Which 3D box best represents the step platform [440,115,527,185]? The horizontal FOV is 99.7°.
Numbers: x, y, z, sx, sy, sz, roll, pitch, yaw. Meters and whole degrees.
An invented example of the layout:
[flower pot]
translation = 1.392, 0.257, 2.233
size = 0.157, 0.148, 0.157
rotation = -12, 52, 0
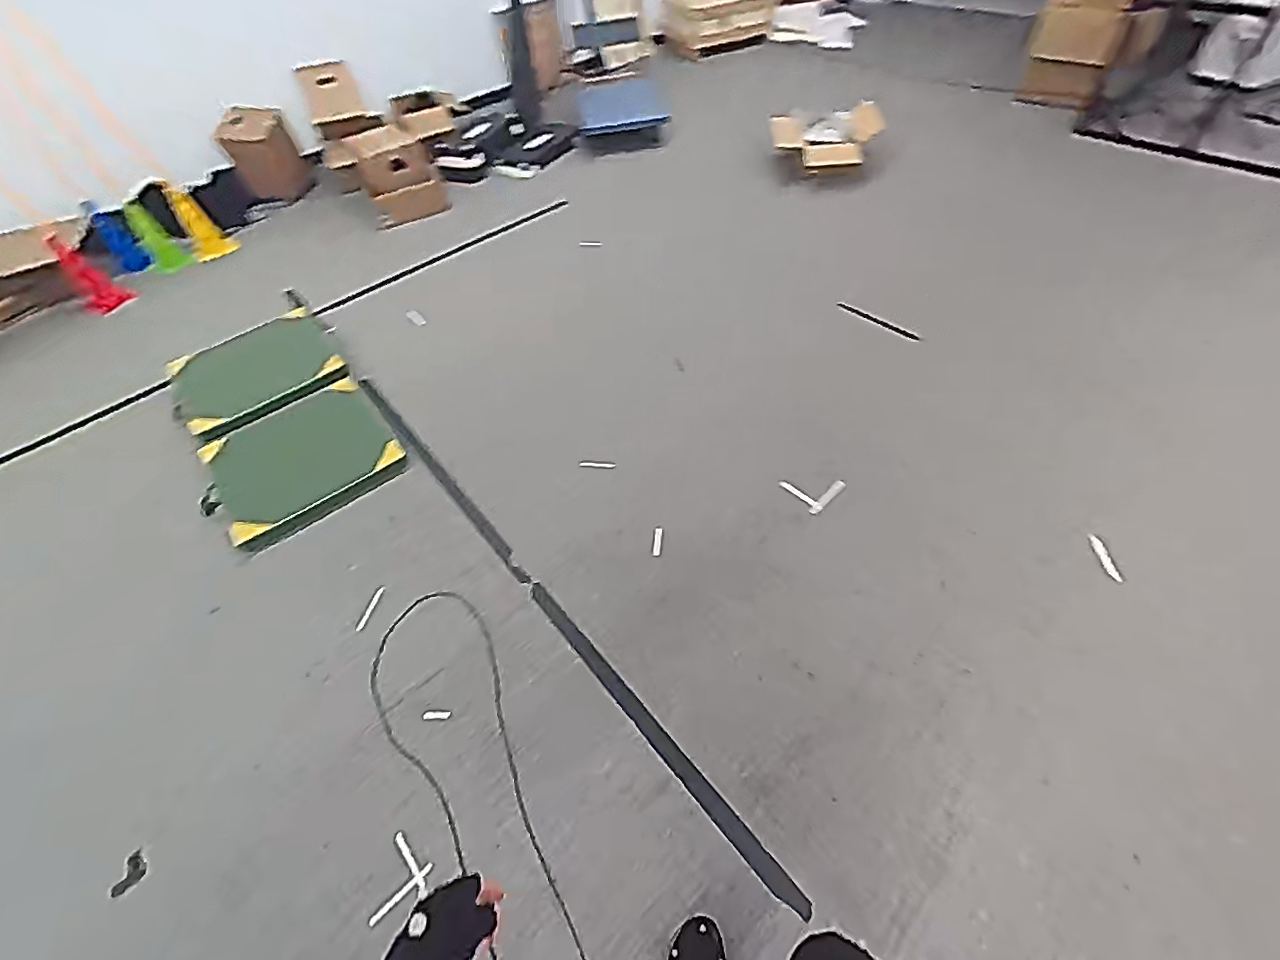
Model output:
[step platform]
translation = -1.056, -2.257, 3.677
size = 0.286, 0.204, 0.684
rotation = 14, 55, 15
